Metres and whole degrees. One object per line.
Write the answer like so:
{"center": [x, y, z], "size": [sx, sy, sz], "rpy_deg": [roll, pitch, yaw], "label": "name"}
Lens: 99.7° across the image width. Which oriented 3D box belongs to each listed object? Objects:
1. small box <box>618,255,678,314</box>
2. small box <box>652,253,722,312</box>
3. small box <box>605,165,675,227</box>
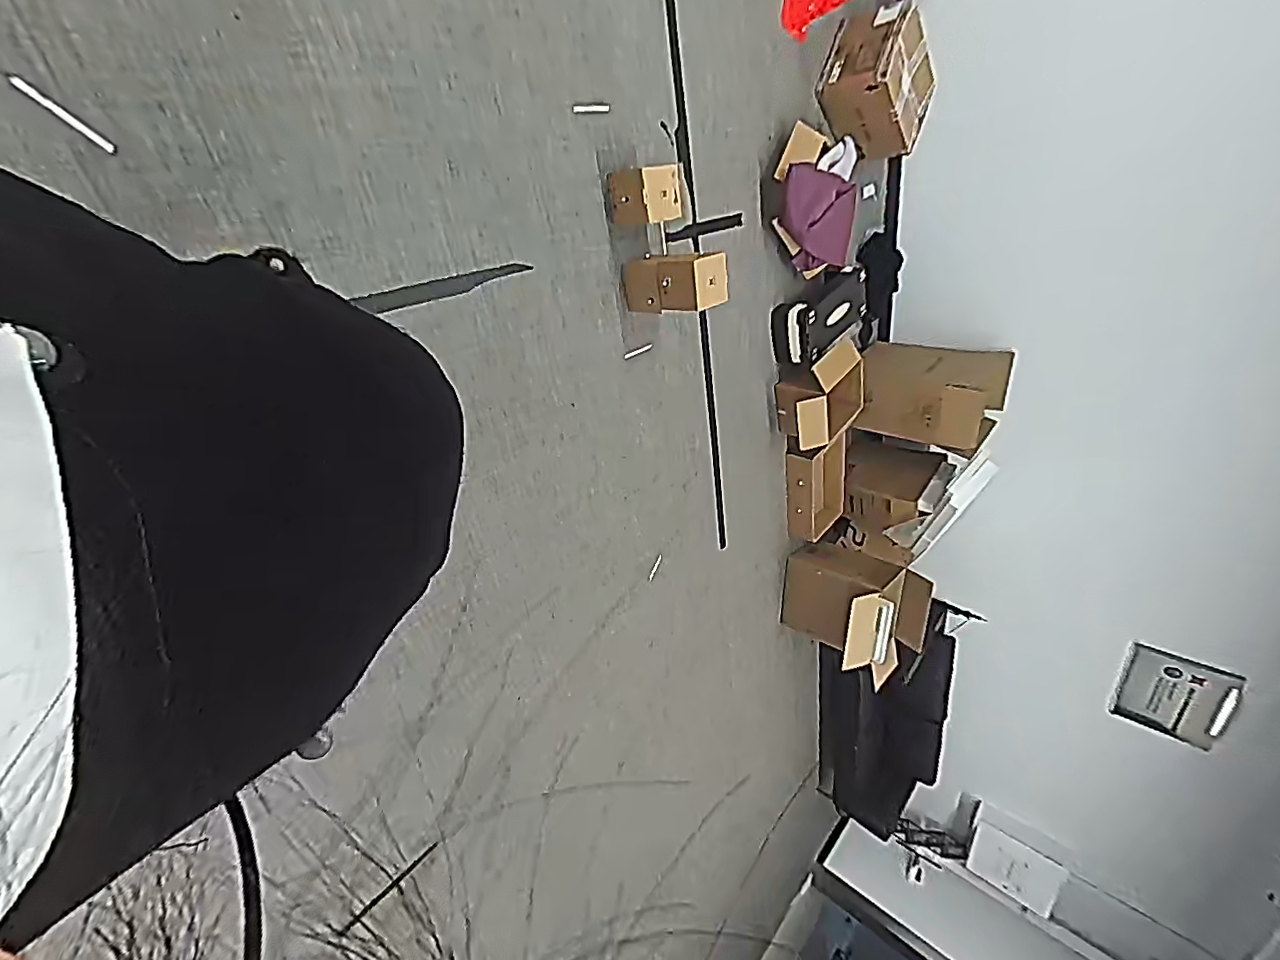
{"center": [0.040, -0.724, 1.993], "size": [0.168, 0.176, 0.179], "rpy_deg": [-34, 128, -36], "label": "small box"}
{"center": [0.165, -0.693, 1.892], "size": [0.179, 0.176, 0.168], "rpy_deg": [-31, 125, -36], "label": "small box"}
{"center": [-0.004, -0.971, 1.853], "size": [0.179, 0.176, 0.168], "rpy_deg": [-30, 125, -37], "label": "small box"}
